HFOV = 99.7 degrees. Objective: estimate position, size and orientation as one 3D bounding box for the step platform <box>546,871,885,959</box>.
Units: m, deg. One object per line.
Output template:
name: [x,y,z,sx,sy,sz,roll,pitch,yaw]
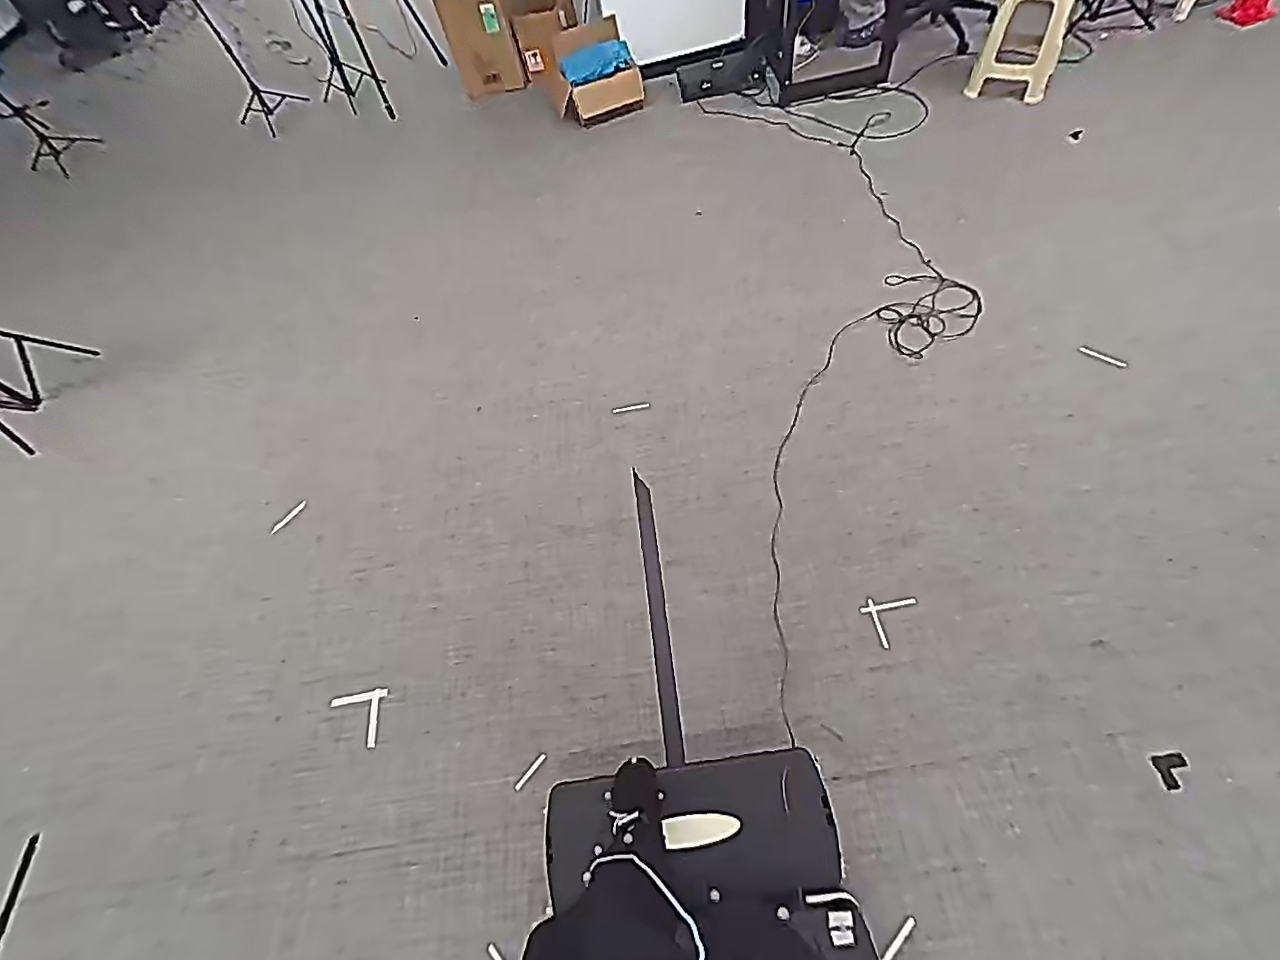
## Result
step platform: [0.150,1.017,1.097,0.684,0.204,0.286,-12,57,4]
